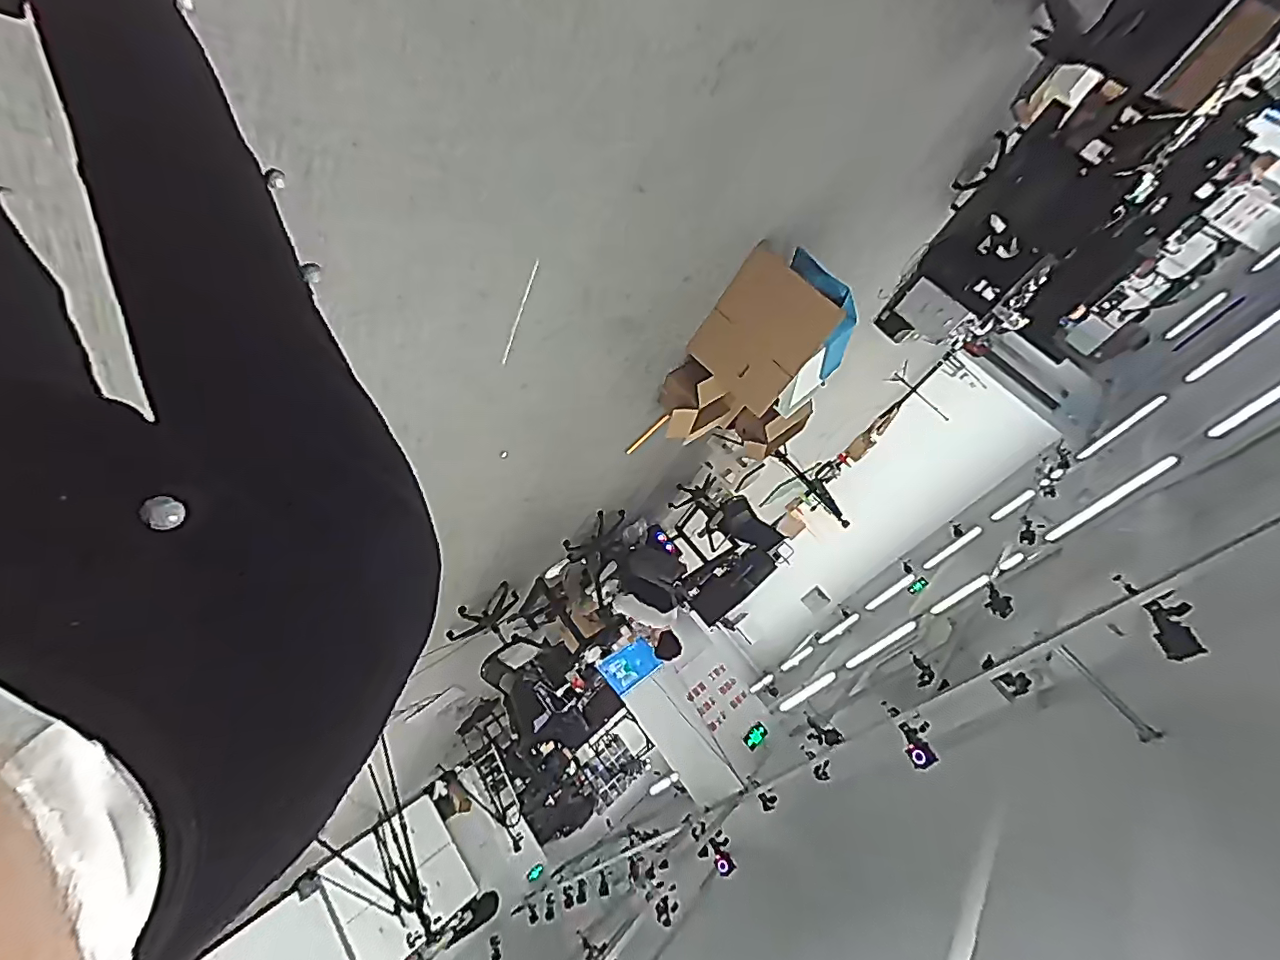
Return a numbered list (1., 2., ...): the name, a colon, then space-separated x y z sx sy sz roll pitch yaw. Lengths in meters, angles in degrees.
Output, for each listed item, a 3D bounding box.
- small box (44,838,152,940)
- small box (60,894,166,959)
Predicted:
1. small box: -1.518 1.148 1.518 0.168 0.176 0.179 -23 155 -43
2. small box: -1.421 1.270 1.464 0.168 0.176 0.179 -21 152 -47
